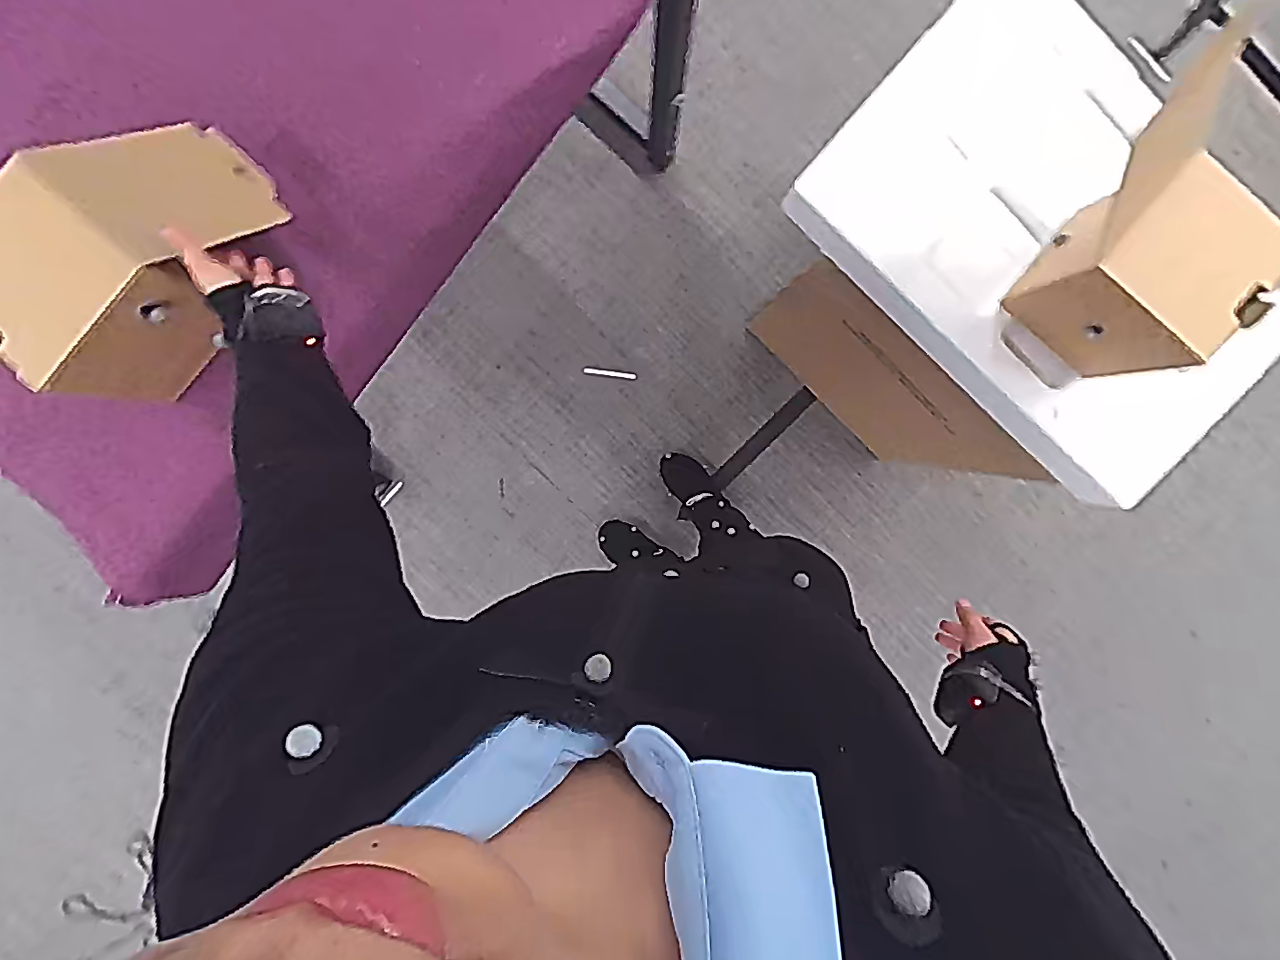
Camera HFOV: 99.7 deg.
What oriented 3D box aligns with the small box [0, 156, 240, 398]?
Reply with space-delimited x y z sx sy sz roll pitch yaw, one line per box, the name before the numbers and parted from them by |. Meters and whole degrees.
small box | -0.621 -0.215 0.628 0.168 0.176 0.179 43 93 -3
